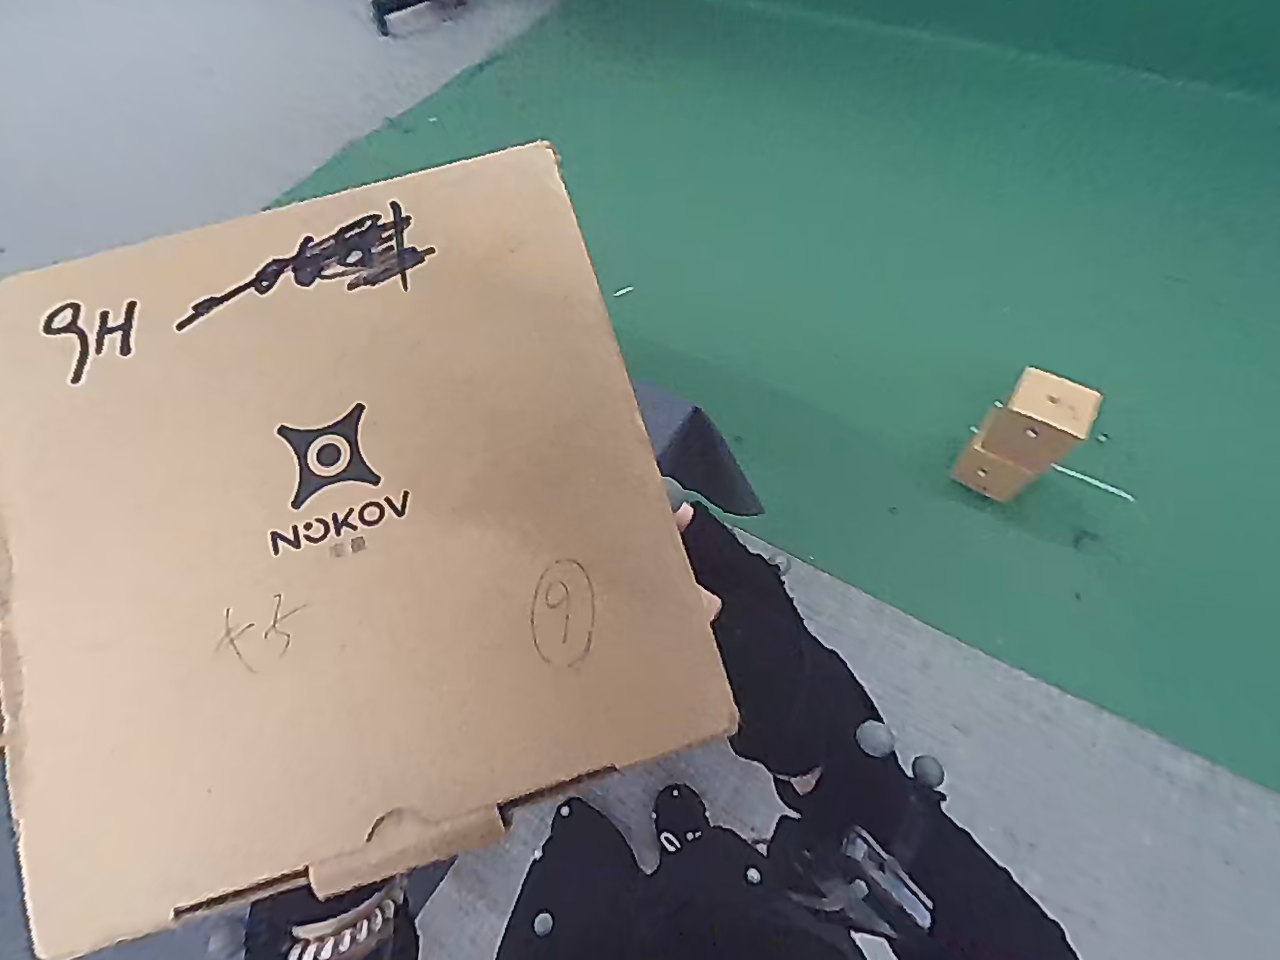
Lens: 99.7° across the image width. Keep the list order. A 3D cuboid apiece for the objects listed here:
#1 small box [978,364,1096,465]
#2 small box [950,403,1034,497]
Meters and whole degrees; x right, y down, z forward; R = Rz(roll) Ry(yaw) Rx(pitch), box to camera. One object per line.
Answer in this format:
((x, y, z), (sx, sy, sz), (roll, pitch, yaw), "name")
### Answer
((1.035, -0.167, 1.424), (0.179, 0.176, 0.168), (30, 66, 18), "small box")
((1.031, -0.081, 1.564), (0.168, 0.176, 0.179), (31, 66, 20), "small box")
